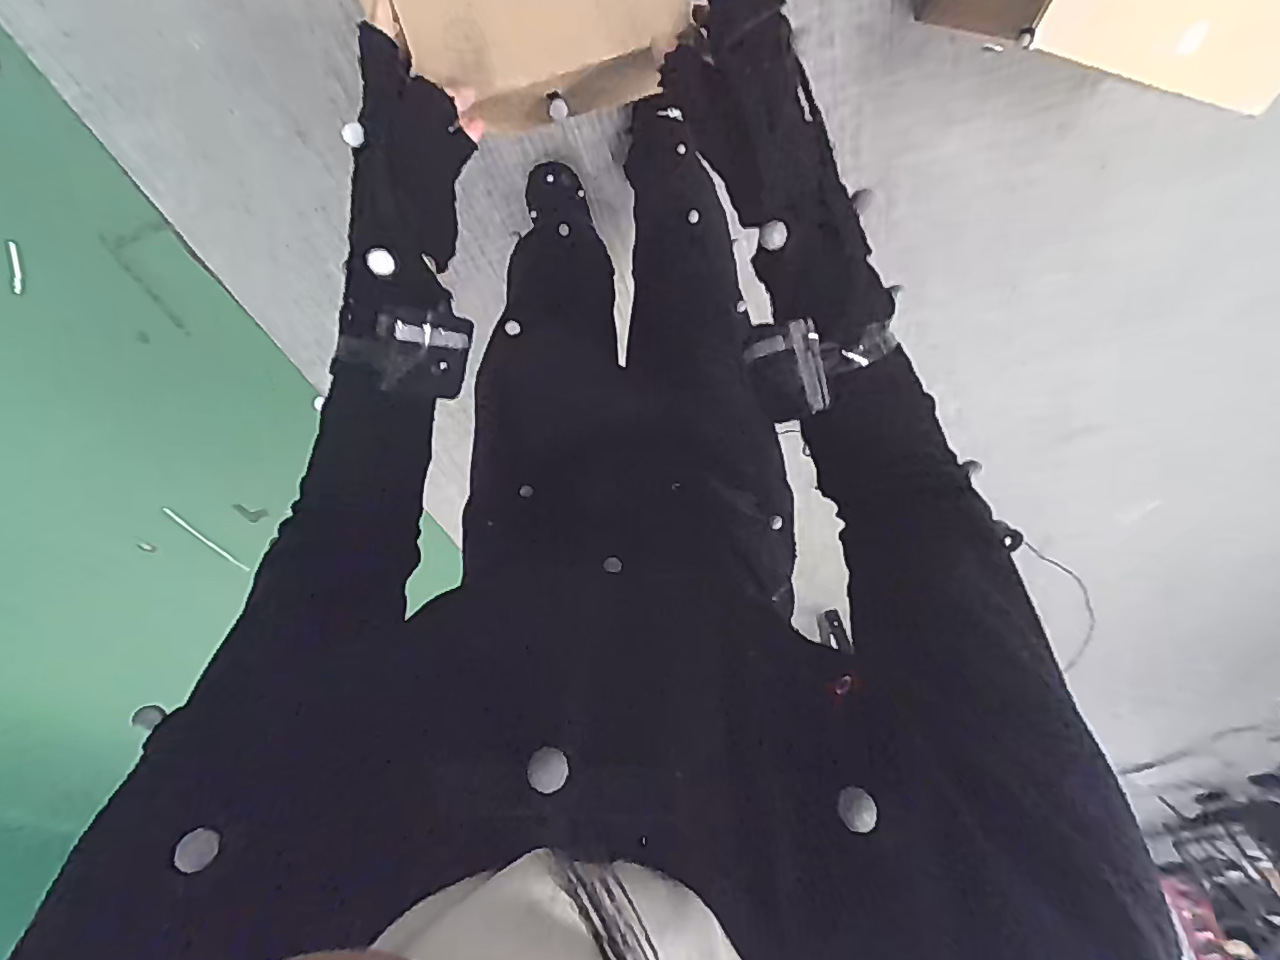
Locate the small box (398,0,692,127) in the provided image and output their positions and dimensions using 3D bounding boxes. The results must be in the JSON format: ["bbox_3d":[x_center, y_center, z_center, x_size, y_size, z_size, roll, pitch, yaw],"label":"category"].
[{"bbox_3d":[-0.066,-0.374,0.382,0.179,0.176,0.168,-12,115,13],"label":"small box"}]
